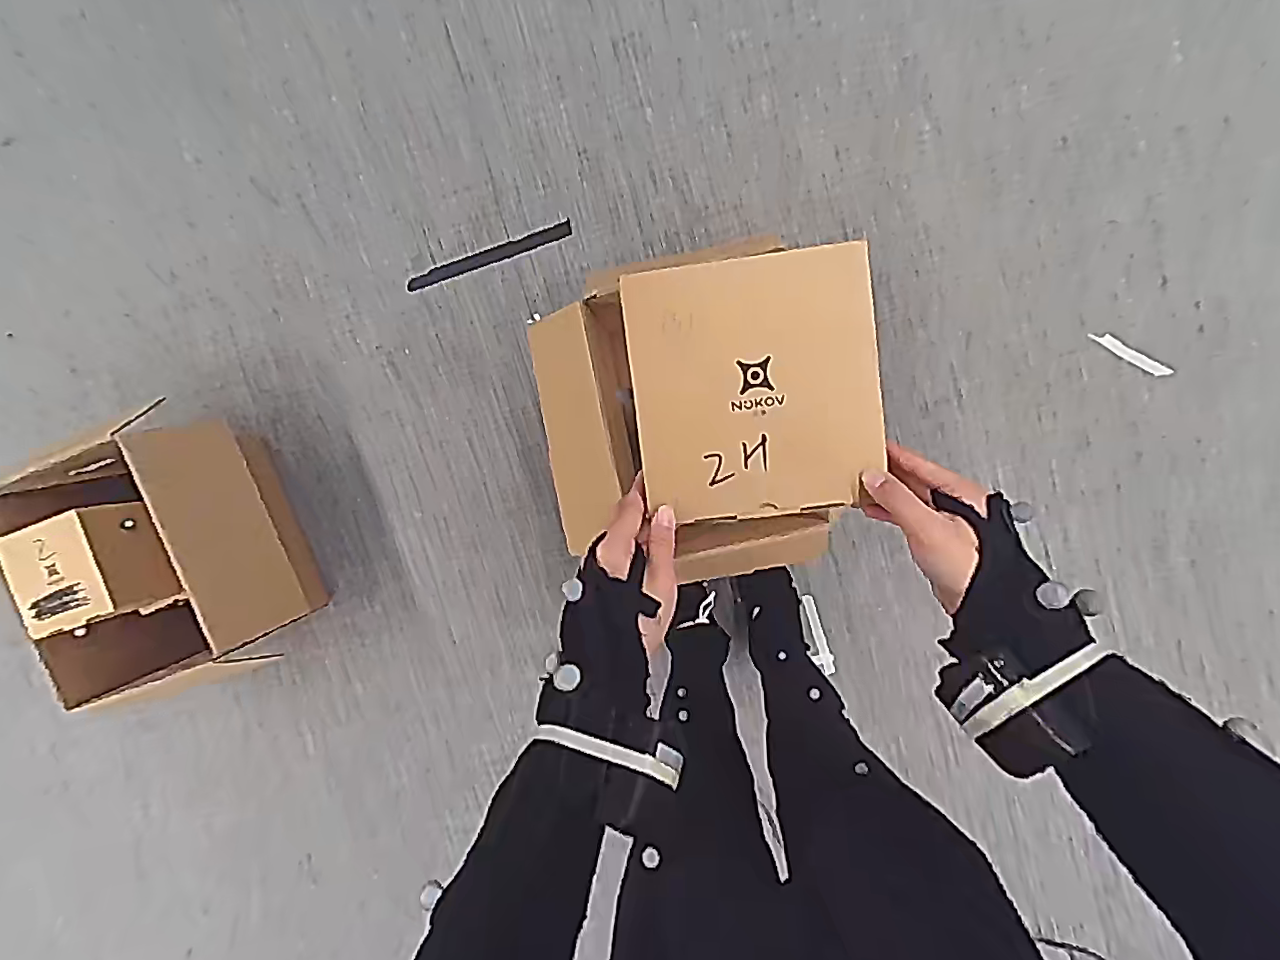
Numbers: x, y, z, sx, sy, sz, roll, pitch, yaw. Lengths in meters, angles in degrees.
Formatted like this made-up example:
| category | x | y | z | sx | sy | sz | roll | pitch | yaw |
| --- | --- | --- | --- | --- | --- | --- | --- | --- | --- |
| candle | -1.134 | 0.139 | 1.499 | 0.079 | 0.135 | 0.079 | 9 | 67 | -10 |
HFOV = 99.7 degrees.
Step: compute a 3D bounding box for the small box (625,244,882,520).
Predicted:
| category | x | y | z | sx | sy | sz | roll | pitch | yaw |
| --- | --- | --- | --- | --- | --- | --- | --- | --- | --- |
| small box | 0.082 | -0.070 | 0.452 | 0.168 | 0.176 | 0.179 | -7 | 94 | 4 |
